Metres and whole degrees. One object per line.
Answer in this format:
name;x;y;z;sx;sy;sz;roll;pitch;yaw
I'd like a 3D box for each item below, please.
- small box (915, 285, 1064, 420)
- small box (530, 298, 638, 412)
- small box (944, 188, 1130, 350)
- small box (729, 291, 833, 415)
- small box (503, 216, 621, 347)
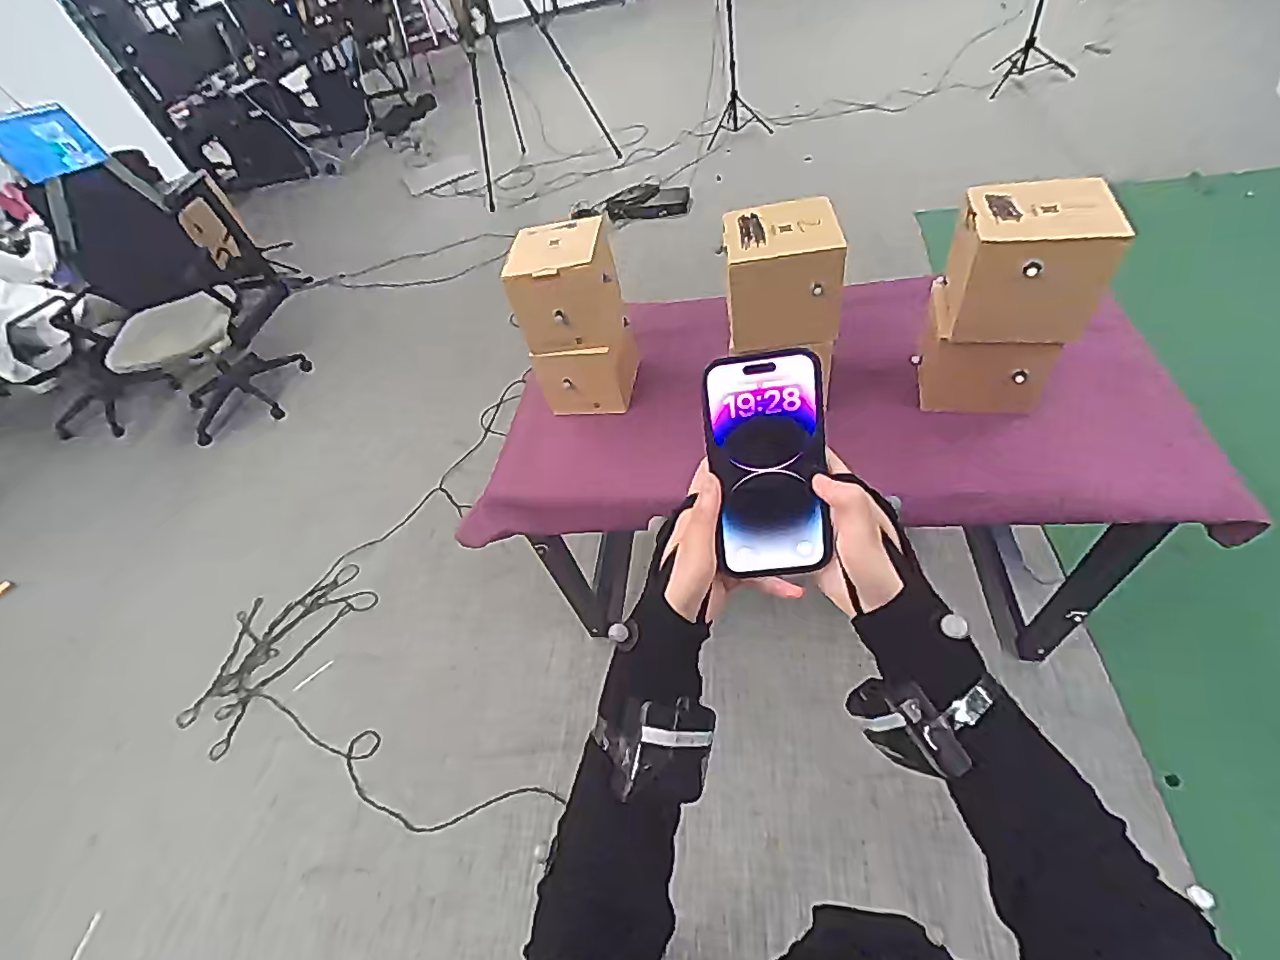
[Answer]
small box;0.595;-0.221;0.946;0.179;0.176;0.168;6;52;18
small box;-0.108;-0.259;1.147;0.168;0.176;0.179;1;52;15
small box;0.571;-0.311;0.811;0.179;0.176;0.168;6;53;17
small box;0.267;-0.238;1.037;0.179;0.176;0.168;1;51;14
small box;-0.137;-0.368;1.027;0.168;0.176;0.179;-2;52;11
